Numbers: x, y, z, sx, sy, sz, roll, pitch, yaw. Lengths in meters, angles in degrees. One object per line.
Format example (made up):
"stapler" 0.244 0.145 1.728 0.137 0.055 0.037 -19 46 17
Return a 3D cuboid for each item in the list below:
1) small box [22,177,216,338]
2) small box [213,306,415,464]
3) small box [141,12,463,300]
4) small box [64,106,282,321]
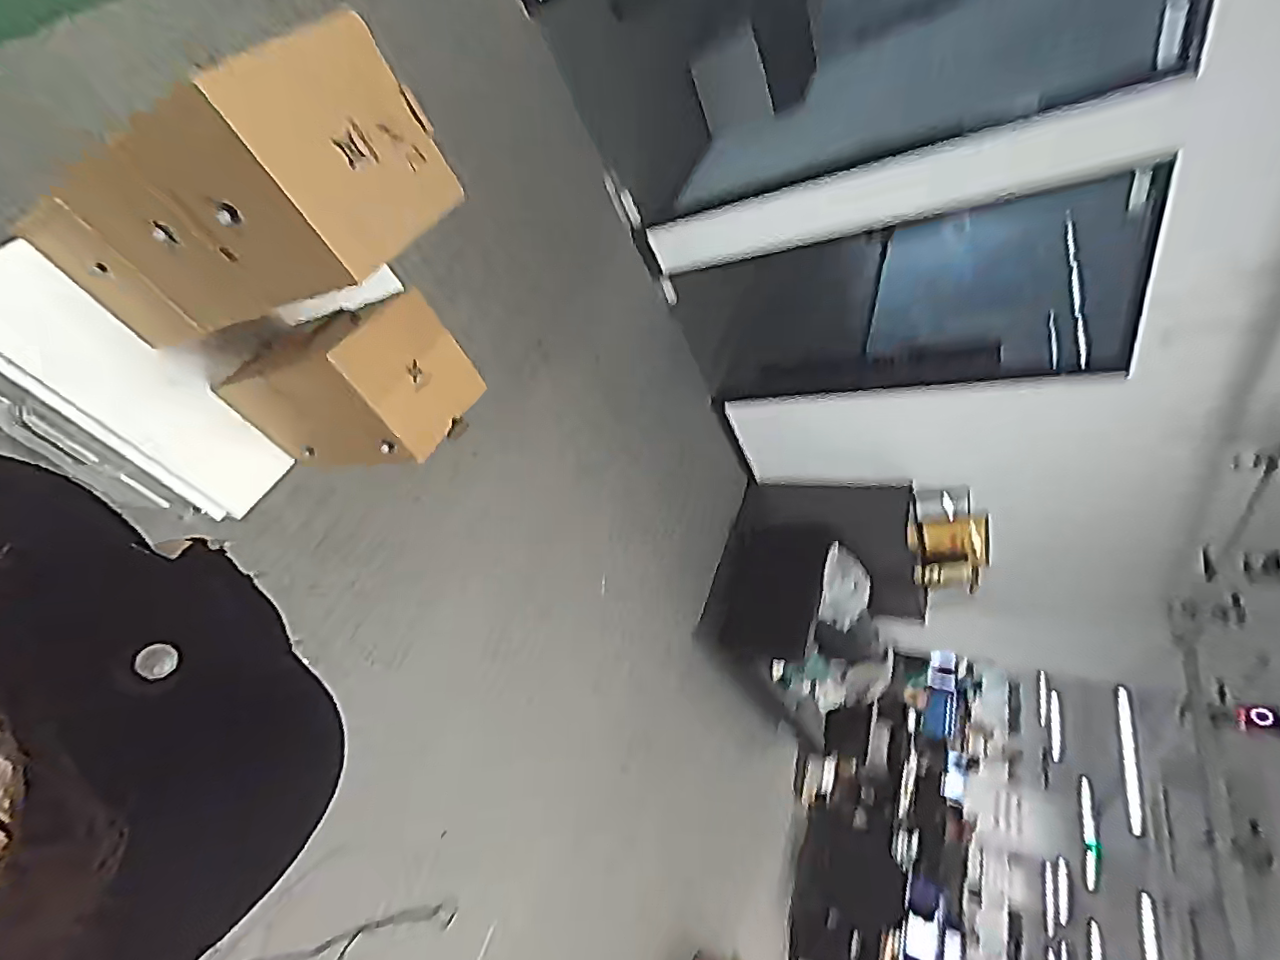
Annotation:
"small box" -0.602 -0.300 0.685 0.168 0.176 0.179 -63 141 -33
"small box" -0.503 -0.142 0.845 0.179 0.176 0.168 58 45 -38
"small box" -0.317 -0.294 0.517 0.179 0.176 0.168 -64 142 -33
"small box" -0.460 -0.299 0.599 0.179 0.176 0.168 60 44 -41
